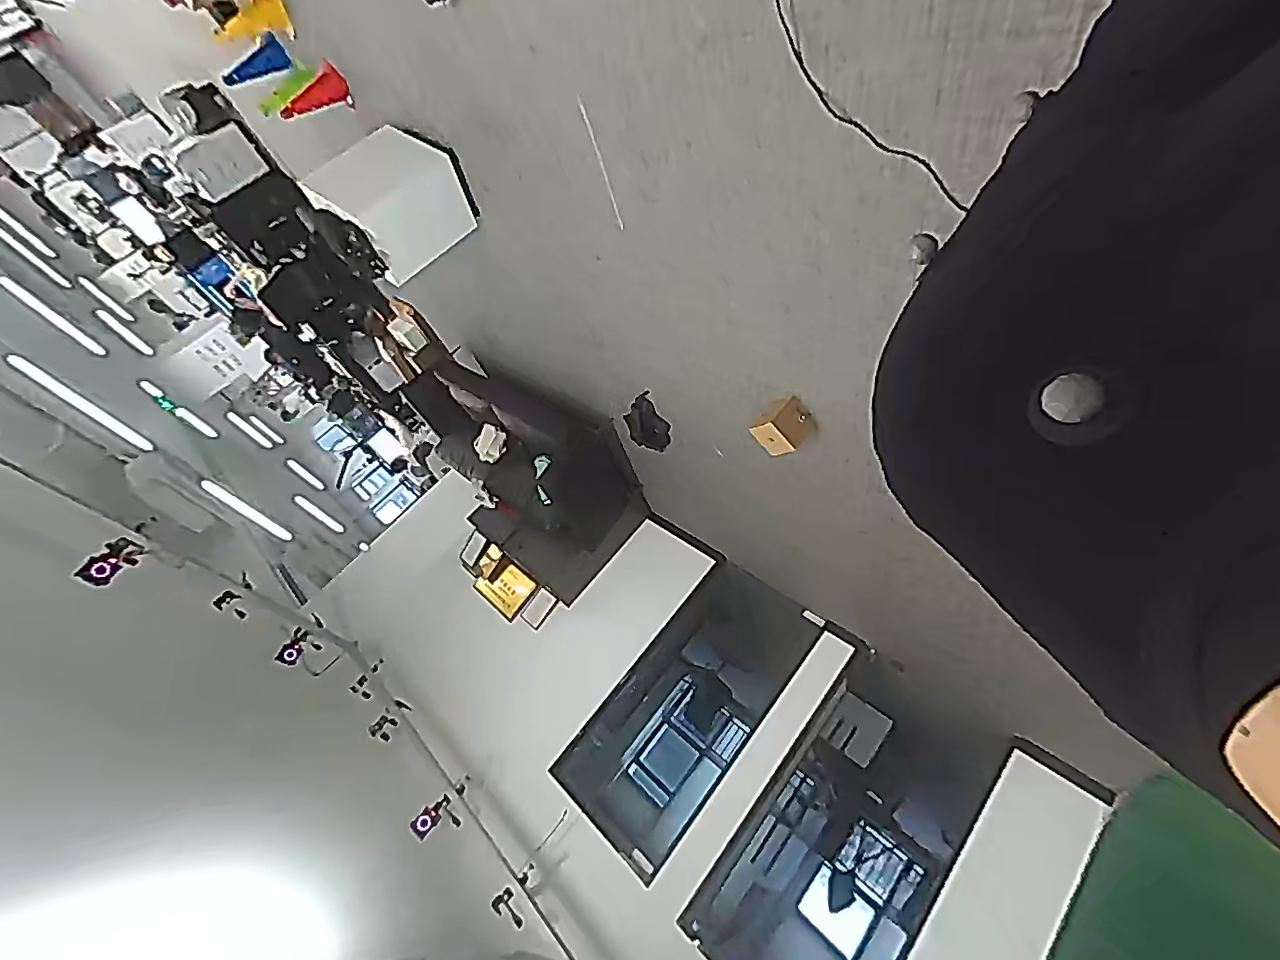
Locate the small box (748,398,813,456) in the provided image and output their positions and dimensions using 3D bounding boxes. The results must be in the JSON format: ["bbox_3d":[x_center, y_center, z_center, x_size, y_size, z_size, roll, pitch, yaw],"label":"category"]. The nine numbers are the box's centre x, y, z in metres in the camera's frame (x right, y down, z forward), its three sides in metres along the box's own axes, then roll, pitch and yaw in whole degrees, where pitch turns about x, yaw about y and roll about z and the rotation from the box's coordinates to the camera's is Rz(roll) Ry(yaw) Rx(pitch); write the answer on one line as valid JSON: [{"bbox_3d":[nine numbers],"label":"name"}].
[{"bbox_3d":[0.603,-0.225,2.311,0.168,0.176,0.179,45,162,-10],"label":"small box"}]
